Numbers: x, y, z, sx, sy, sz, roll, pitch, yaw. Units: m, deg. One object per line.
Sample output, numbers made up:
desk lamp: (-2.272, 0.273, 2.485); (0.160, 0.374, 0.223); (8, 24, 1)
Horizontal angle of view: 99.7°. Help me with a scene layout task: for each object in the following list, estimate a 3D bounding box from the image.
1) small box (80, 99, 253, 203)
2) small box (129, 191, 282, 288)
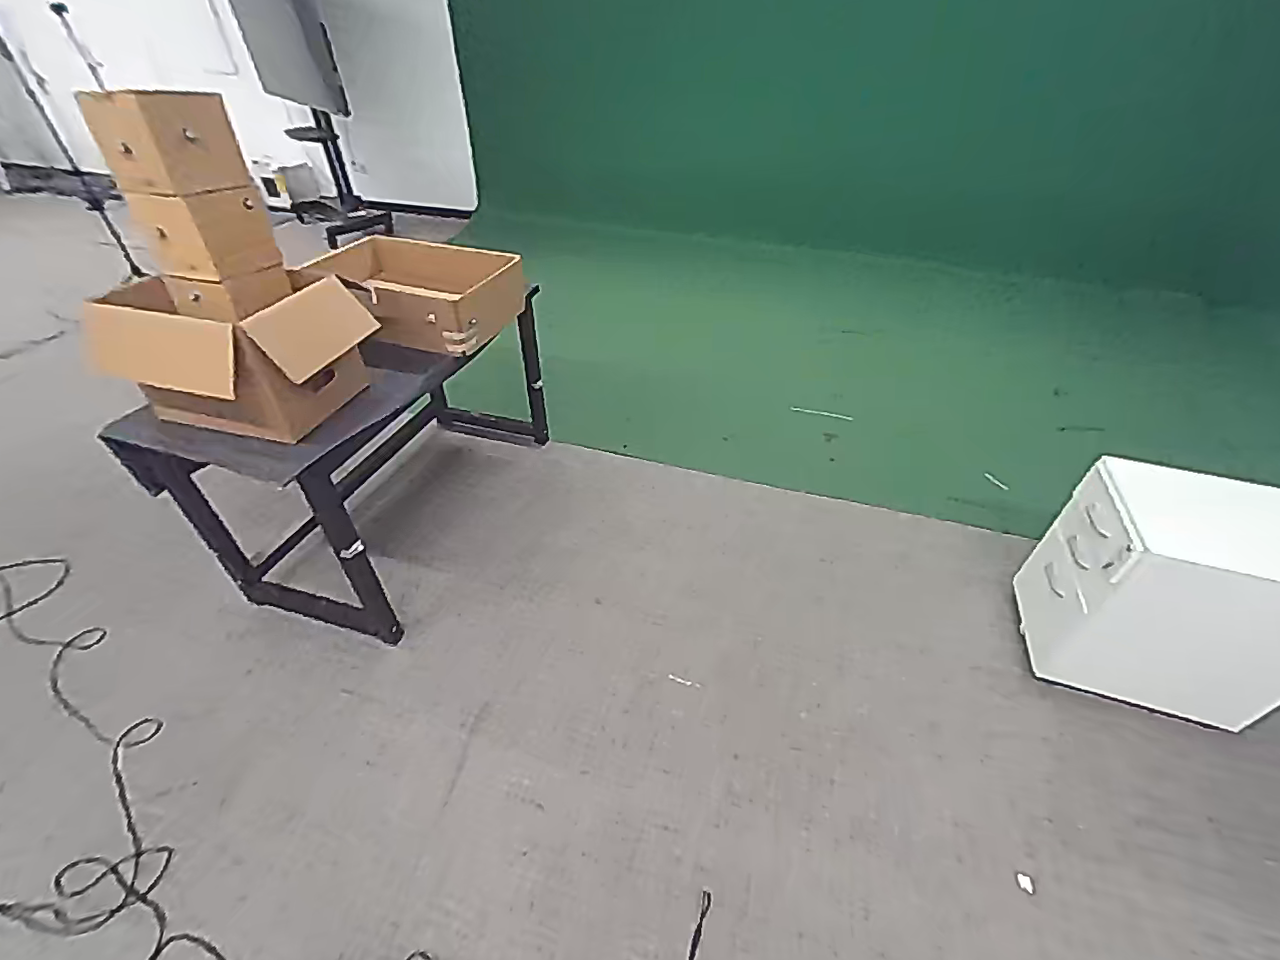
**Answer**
small box: (-0.945, -0.669, 1.099); (0.168, 0.176, 0.179); (12, 37, 15)
small box: (-0.943, -0.534, 1.194); (0.168, 0.176, 0.179); (11, 36, 14)
